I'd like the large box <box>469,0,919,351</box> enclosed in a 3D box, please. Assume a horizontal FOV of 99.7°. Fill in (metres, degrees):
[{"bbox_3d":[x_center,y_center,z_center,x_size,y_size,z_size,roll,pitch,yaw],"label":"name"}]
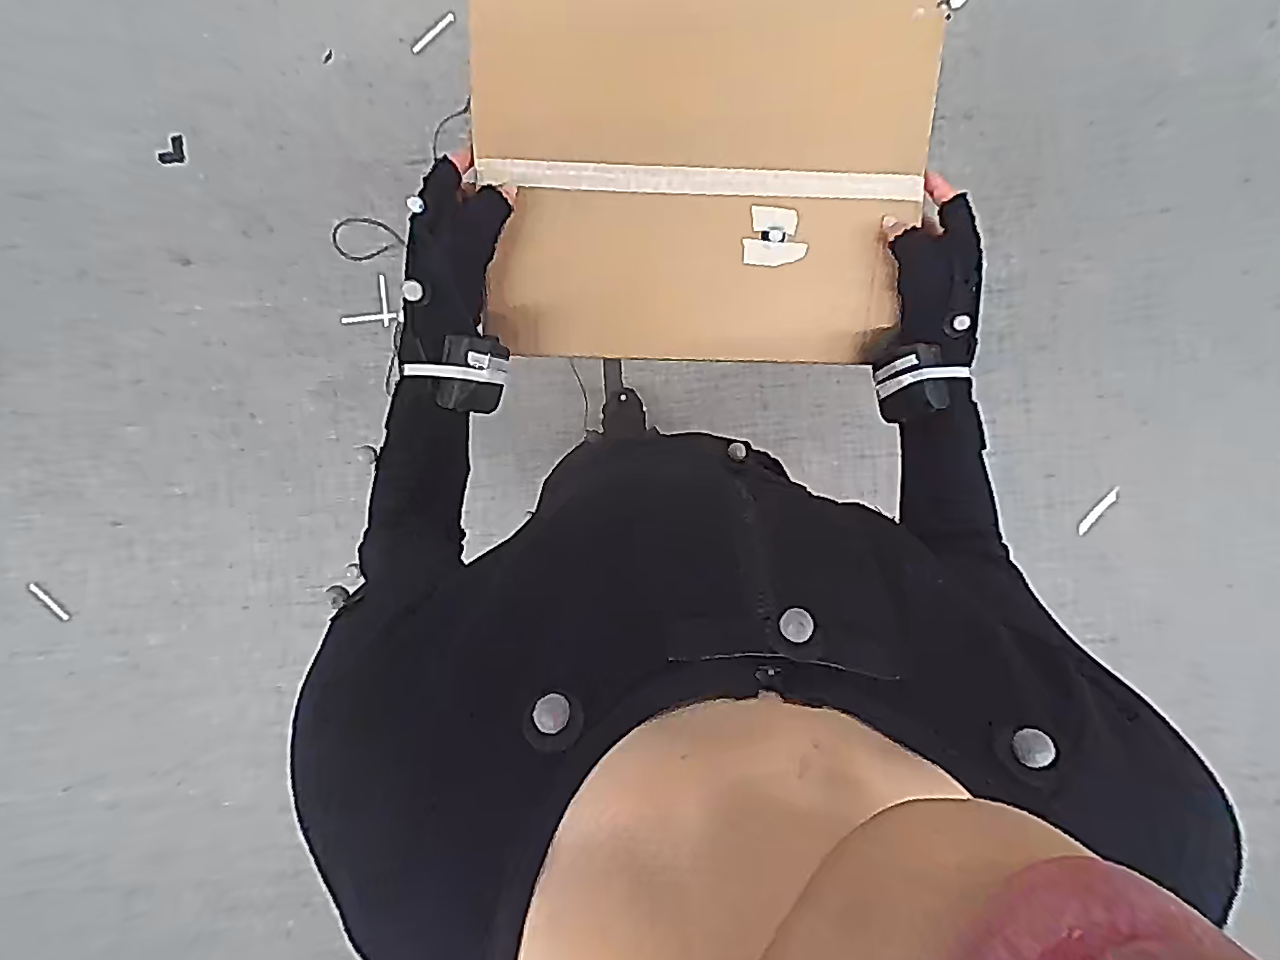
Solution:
[{"bbox_3d":[0.042,-0.316,0.647,0.408,0.320,0.320,0,104,-4],"label":"large box"}]
